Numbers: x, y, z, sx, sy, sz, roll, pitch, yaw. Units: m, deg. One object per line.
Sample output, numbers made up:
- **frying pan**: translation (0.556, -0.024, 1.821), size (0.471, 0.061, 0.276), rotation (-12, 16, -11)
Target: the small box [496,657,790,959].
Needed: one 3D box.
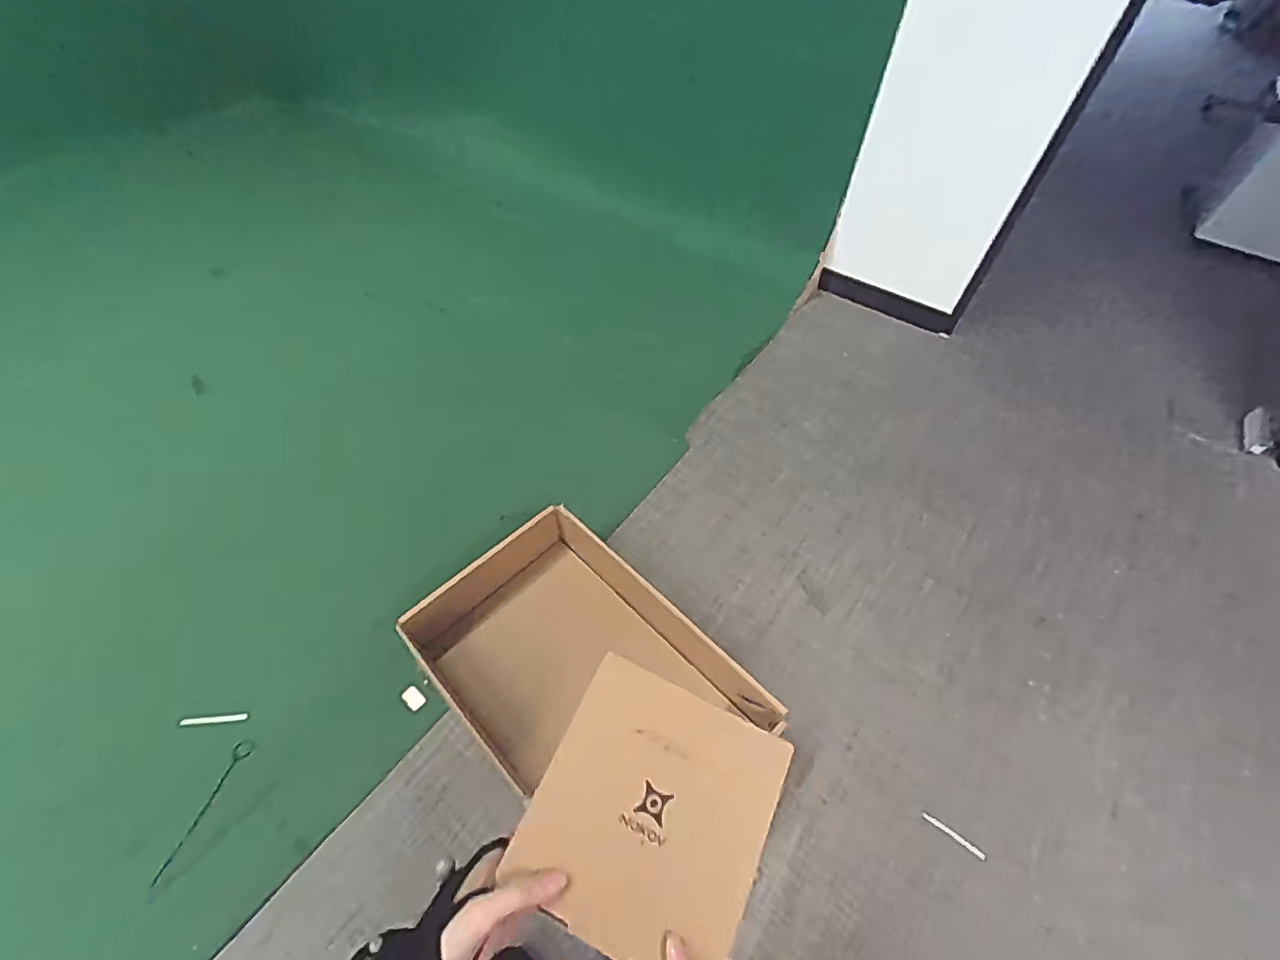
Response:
- **small box**: translation (0.006, 0.285, 0.470), size (0.168, 0.176, 0.179), rotation (25, 63, 10)
